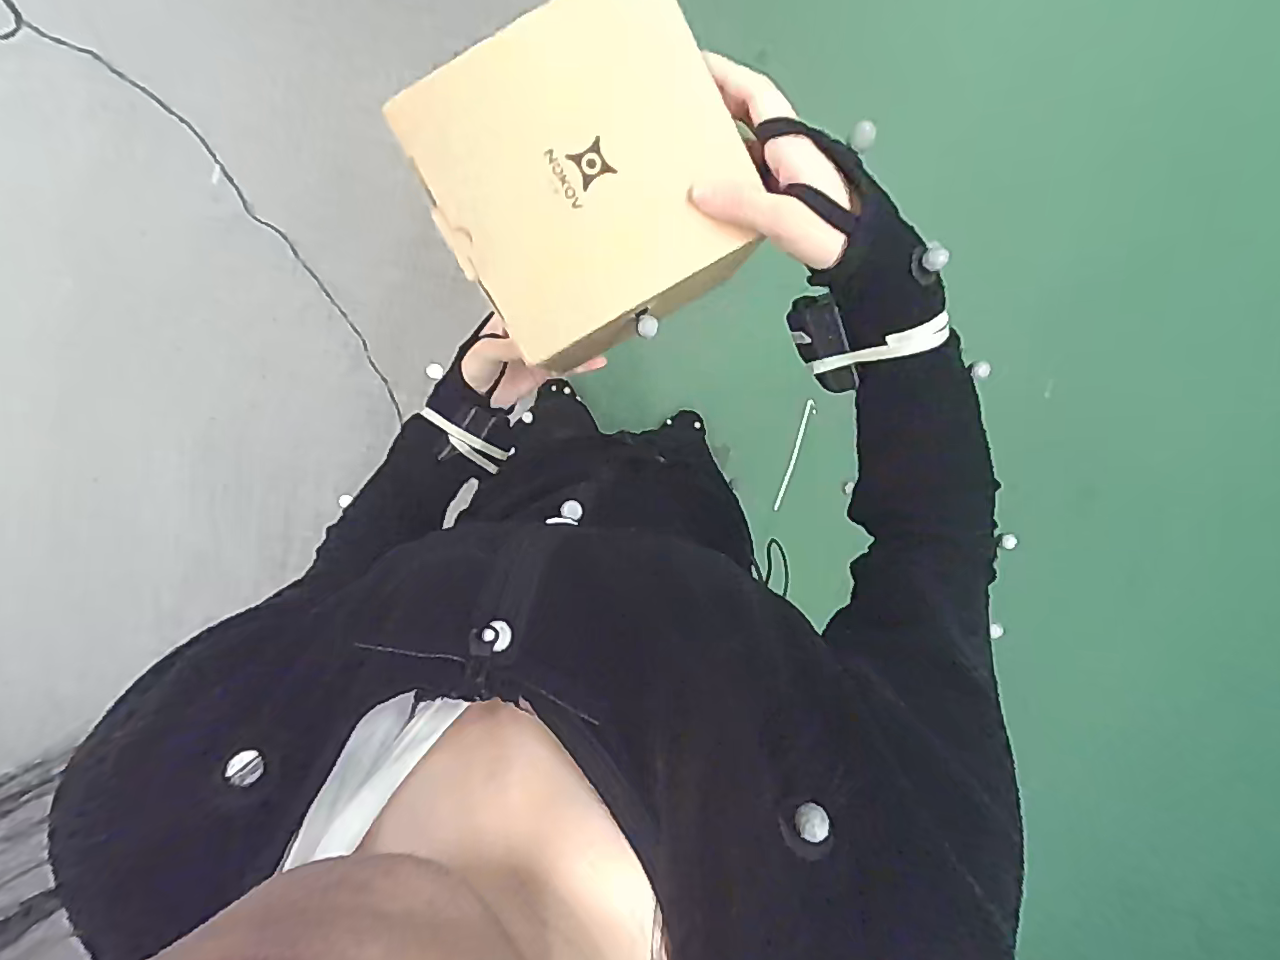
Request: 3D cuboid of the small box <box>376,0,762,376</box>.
[{"bbox_3d":[-0.041,-0.194,0.397,0.179,0.176,0.168,-32,101,6],"label":"small box"}]
